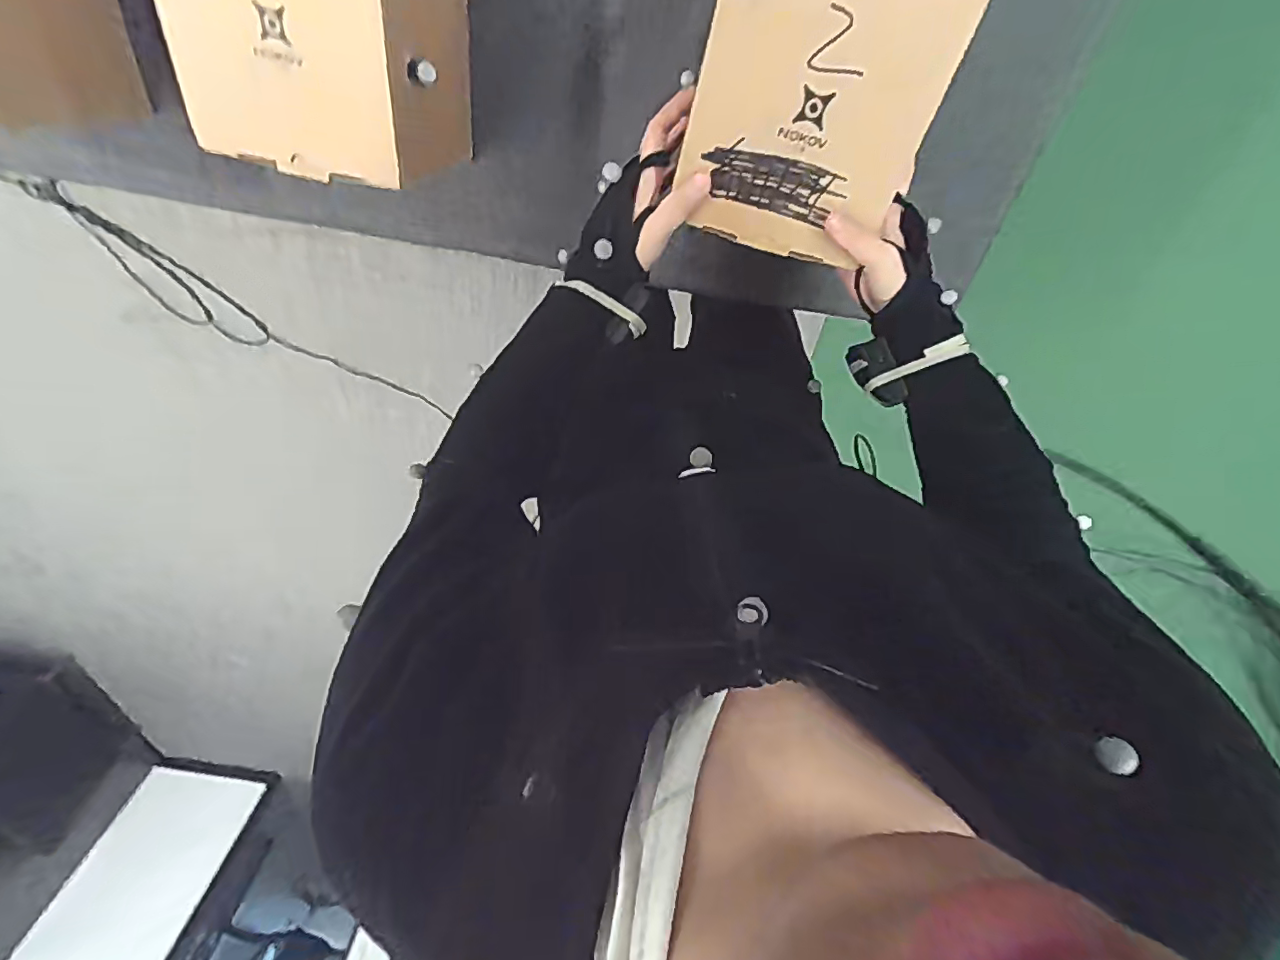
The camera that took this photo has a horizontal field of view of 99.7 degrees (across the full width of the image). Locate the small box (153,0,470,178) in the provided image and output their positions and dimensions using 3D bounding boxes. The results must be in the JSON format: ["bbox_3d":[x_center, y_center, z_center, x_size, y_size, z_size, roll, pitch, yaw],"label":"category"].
[{"bbox_3d":[-0.243,-0.368,0.429,0.168,0.176,0.179,11,129,-3],"label":"small box"}]

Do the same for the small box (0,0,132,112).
[{"bbox_3d":[-0.571,-0.415,0.423,0.168,0.176,0.179,12,128,-3],"label":"small box"}]
